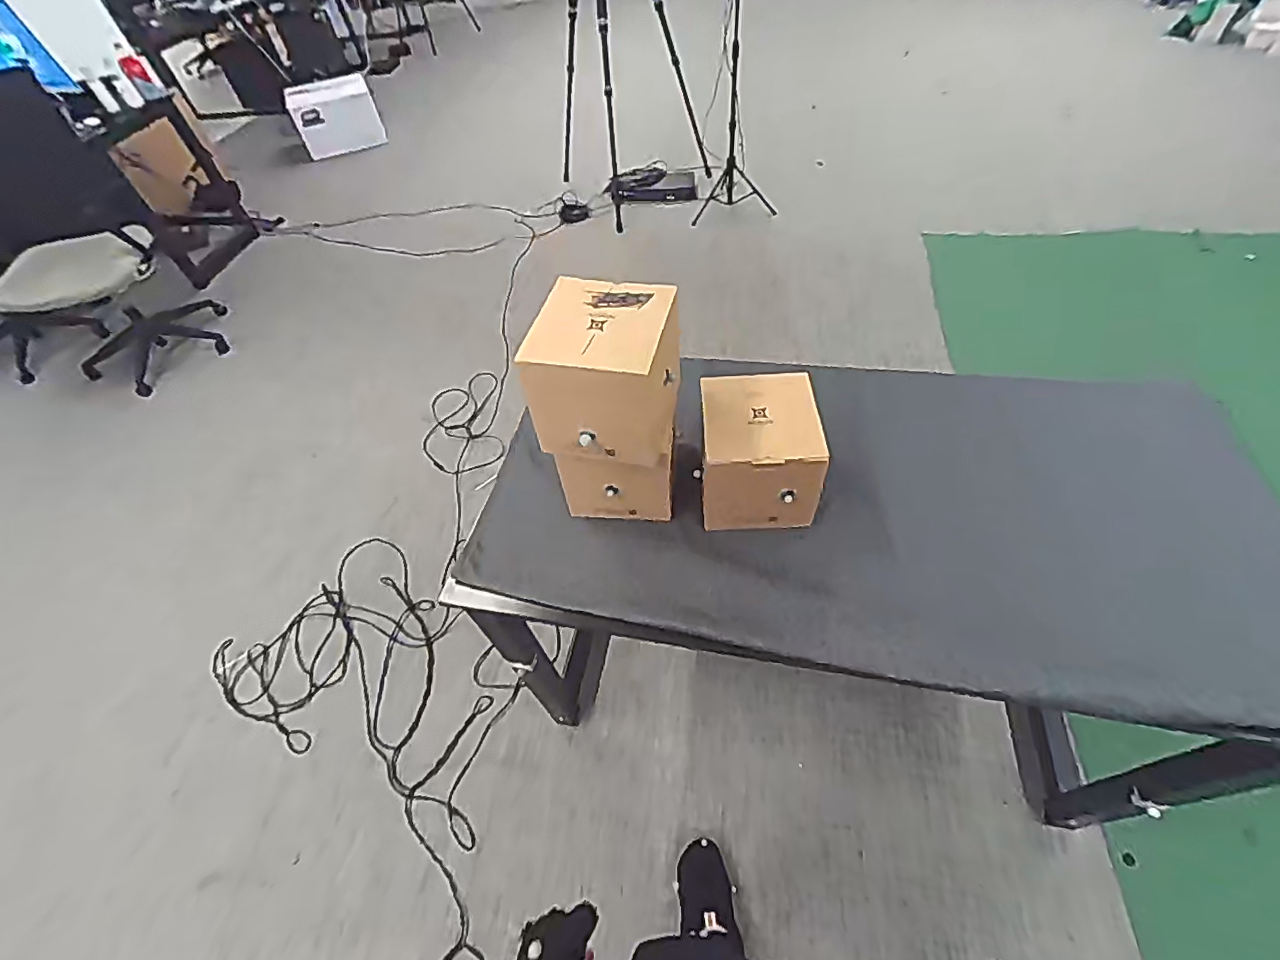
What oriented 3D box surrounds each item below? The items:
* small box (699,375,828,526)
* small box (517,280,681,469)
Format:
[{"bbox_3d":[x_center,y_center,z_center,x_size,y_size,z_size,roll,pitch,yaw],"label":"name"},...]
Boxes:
[{"bbox_3d":[0.178,-0.039,0.836,0.168,0.176,0.179,-2,51,3],"label":"small box"},{"bbox_3d":[-0.042,-0.142,0.728,0.168,0.176,0.179,8,54,12],"label":"small box"}]
